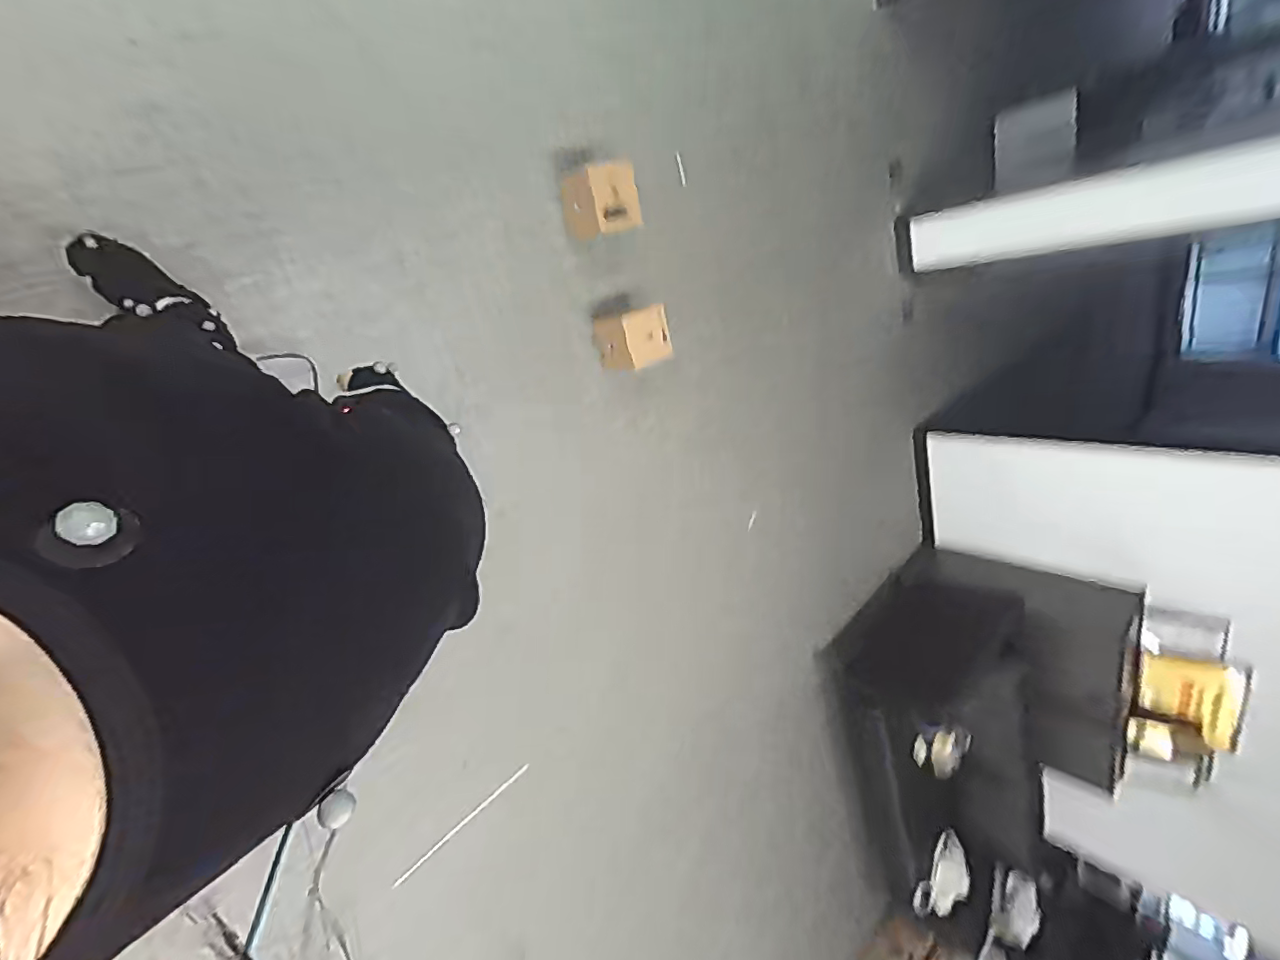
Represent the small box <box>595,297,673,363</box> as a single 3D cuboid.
[{"bbox_3d":[-0.026,-0.480,1.749,0.179,0.176,0.168,-30,117,-31],"label":"small box"}]
